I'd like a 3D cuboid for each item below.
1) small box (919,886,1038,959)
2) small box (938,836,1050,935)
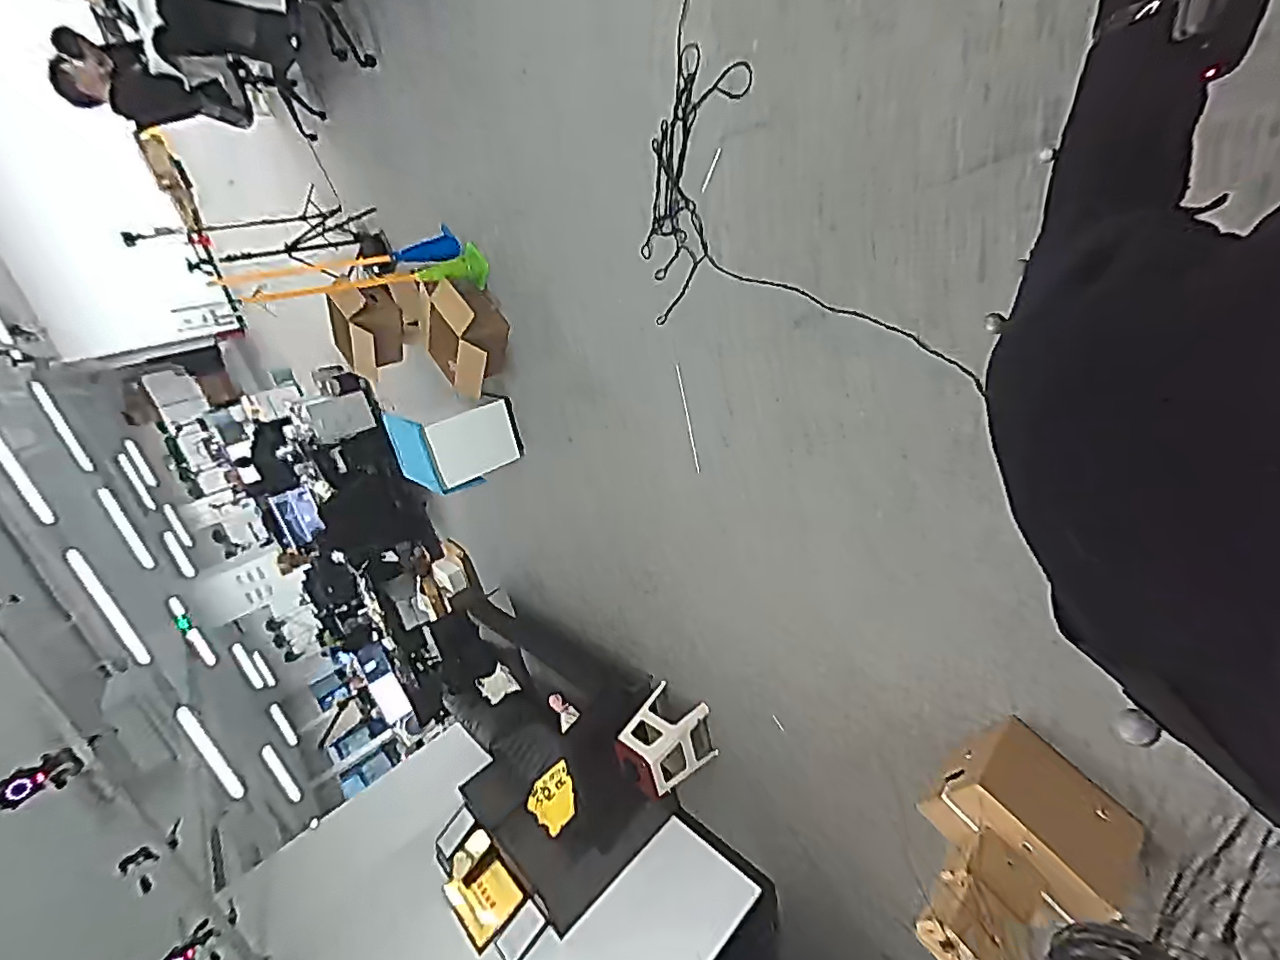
[{"bbox_3d":[0.873,1.191,1.396,0.179,0.176,0.168,42,141,23],"label":"small box"},{"bbox_3d":[0.984,1.132,1.505,0.179,0.176,0.168,41,142,28],"label":"small box"}]
